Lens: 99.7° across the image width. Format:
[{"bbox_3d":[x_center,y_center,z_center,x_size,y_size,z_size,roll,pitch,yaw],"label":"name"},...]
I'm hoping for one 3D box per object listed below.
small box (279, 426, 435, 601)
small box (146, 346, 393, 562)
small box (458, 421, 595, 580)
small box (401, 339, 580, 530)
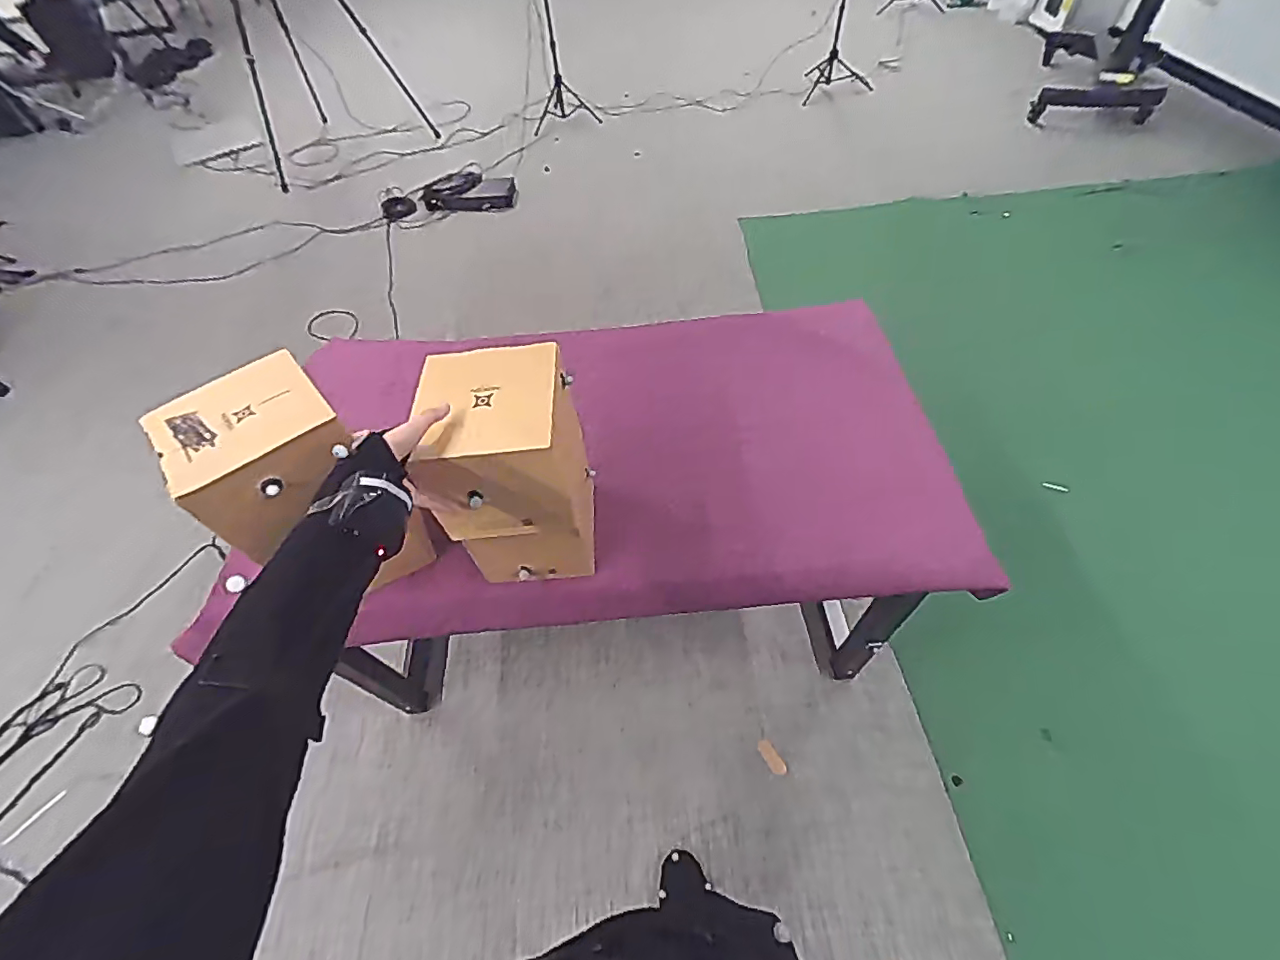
[{"bbox_3d":[-0.442,0.056,0.823,0.179,0.176,0.168,-26,56,-14],"label":"small box"},{"bbox_3d":[-0.453,-0.029,0.681,0.179,0.176,0.168,-35,59,-22],"label":"small box"},{"bbox_3d":[-0.162,0.034,0.821,0.168,0.176,0.179,-5,53,2],"label":"small box"},{"bbox_3d":[-0.170,-0.049,0.681,0.168,0.176,0.179,-6,52,2],"label":"small box"}]
